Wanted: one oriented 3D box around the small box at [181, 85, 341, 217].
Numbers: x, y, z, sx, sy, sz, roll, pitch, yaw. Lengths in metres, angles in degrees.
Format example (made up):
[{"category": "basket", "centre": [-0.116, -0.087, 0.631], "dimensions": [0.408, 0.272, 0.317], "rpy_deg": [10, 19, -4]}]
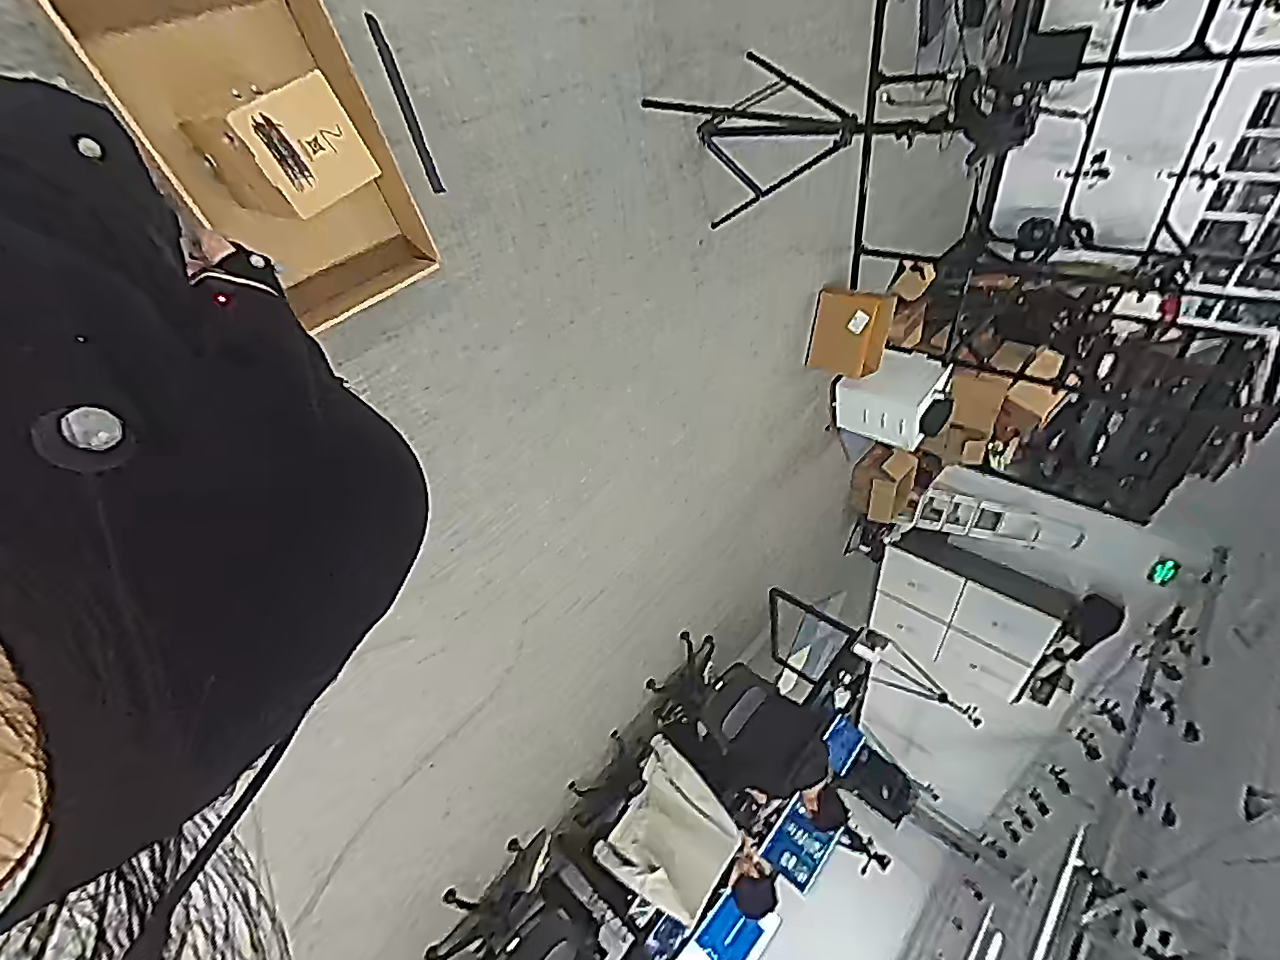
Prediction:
[{"category": "small box", "centre": [-0.737, -0.640, 1.053], "dimensions": [0.179, 0.176, 0.168], "rpy_deg": [-46, 140, -21]}]
